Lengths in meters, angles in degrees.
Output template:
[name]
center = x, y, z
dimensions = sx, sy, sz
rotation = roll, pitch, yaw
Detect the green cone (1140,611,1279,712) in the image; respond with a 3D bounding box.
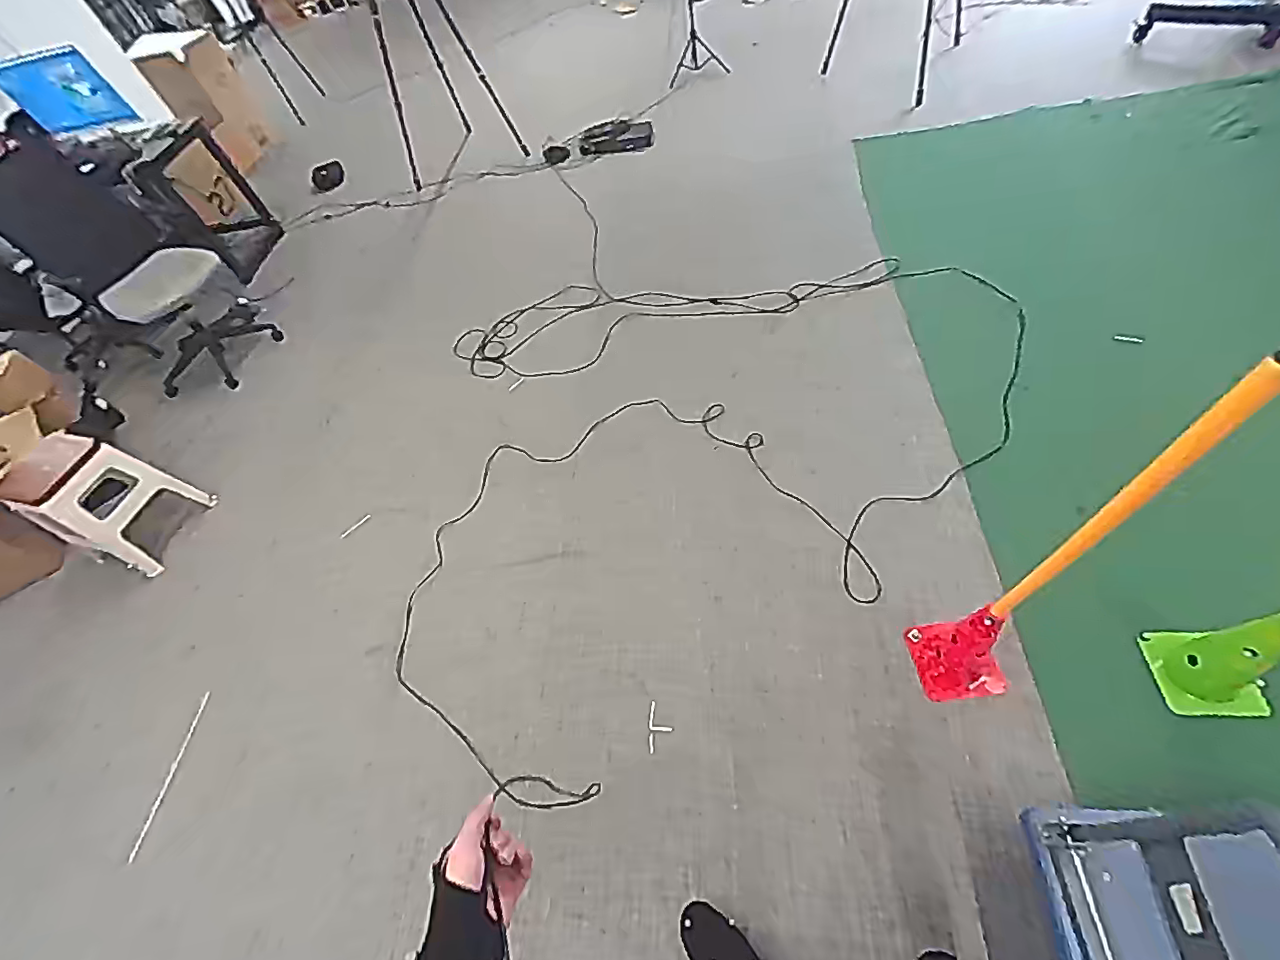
[green cone]
center = 1.332, 0.356, 1.173
dimensions = 0.202, 0.368, 0.200
rotation = -3, 54, 10
